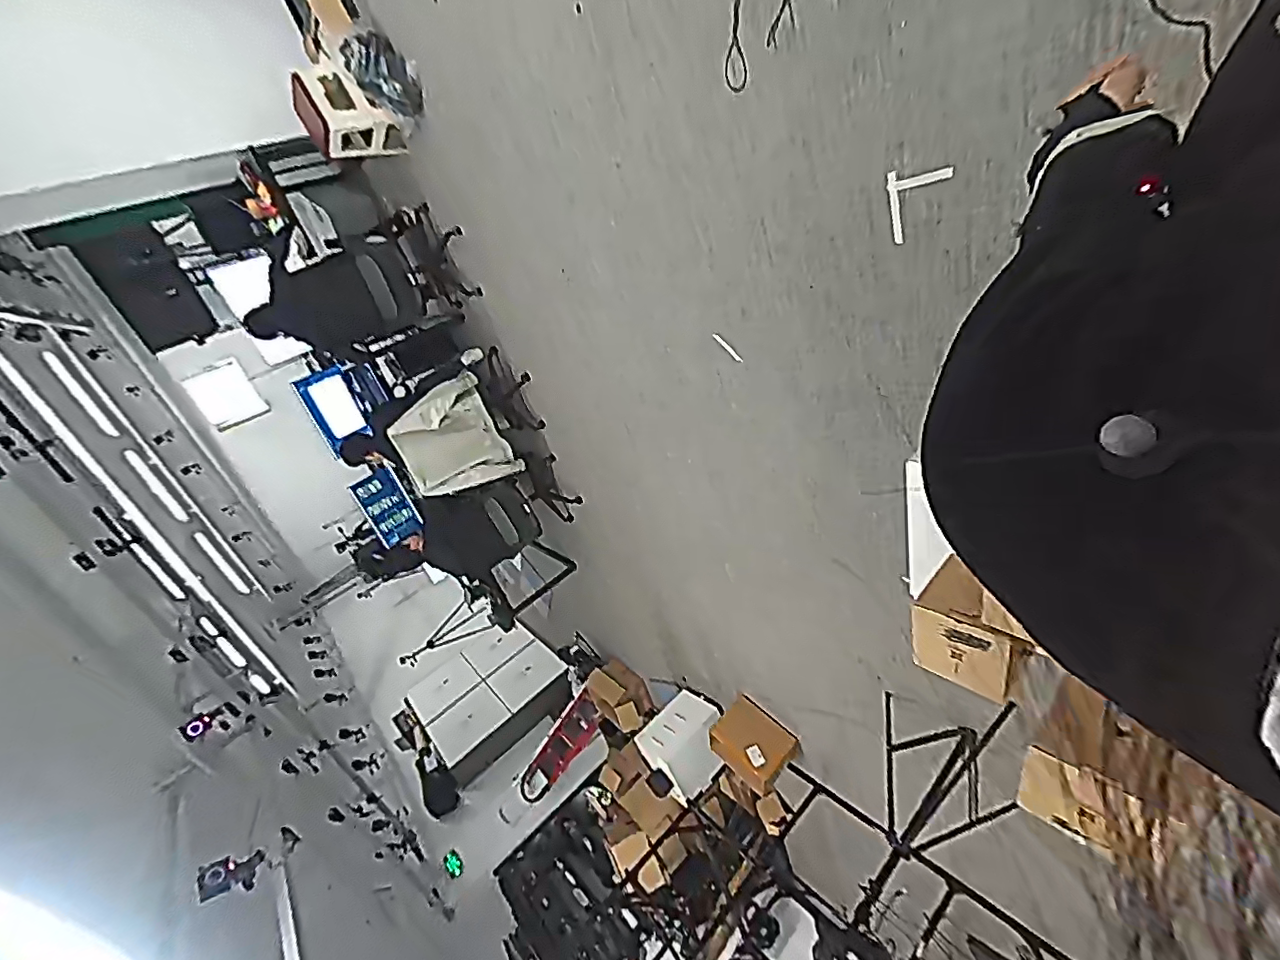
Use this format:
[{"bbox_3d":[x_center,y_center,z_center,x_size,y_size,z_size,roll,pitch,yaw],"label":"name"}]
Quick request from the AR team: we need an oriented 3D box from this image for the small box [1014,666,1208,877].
[{"bbox_3d":[0.680,0.410,0.787,0.168,0.176,0.179,23,138,46],"label":"small box"}]
